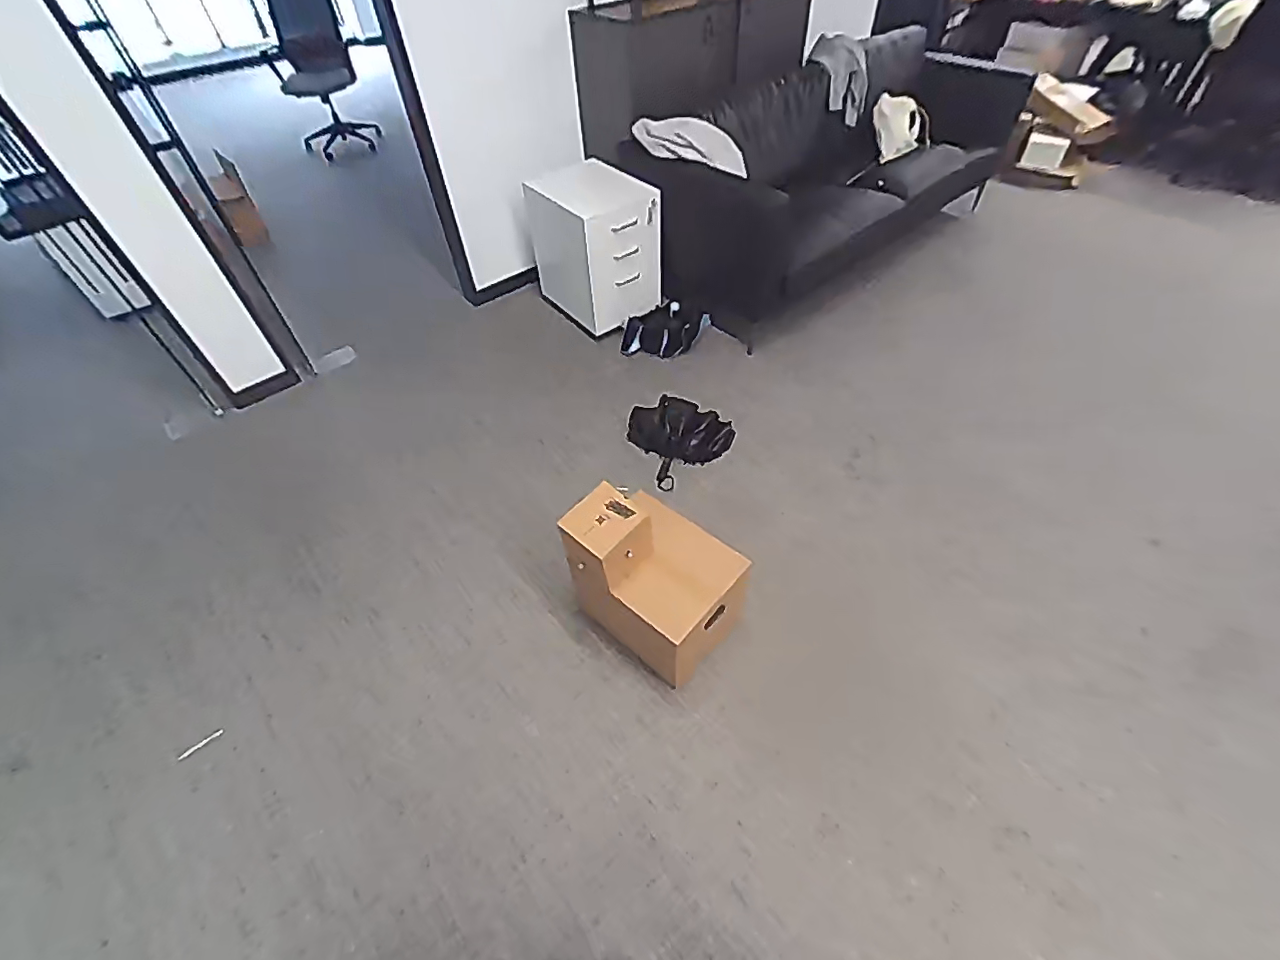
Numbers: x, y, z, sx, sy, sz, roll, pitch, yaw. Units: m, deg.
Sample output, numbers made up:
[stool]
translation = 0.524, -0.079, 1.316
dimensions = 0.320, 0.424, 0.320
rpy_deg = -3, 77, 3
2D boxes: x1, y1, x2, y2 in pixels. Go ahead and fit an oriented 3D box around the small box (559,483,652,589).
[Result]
[small box]
translation = -0.081, 0.148, 1.409
dimensions = 0.168, 0.176, 0.179
rpy_deg = 34, 63, 28
